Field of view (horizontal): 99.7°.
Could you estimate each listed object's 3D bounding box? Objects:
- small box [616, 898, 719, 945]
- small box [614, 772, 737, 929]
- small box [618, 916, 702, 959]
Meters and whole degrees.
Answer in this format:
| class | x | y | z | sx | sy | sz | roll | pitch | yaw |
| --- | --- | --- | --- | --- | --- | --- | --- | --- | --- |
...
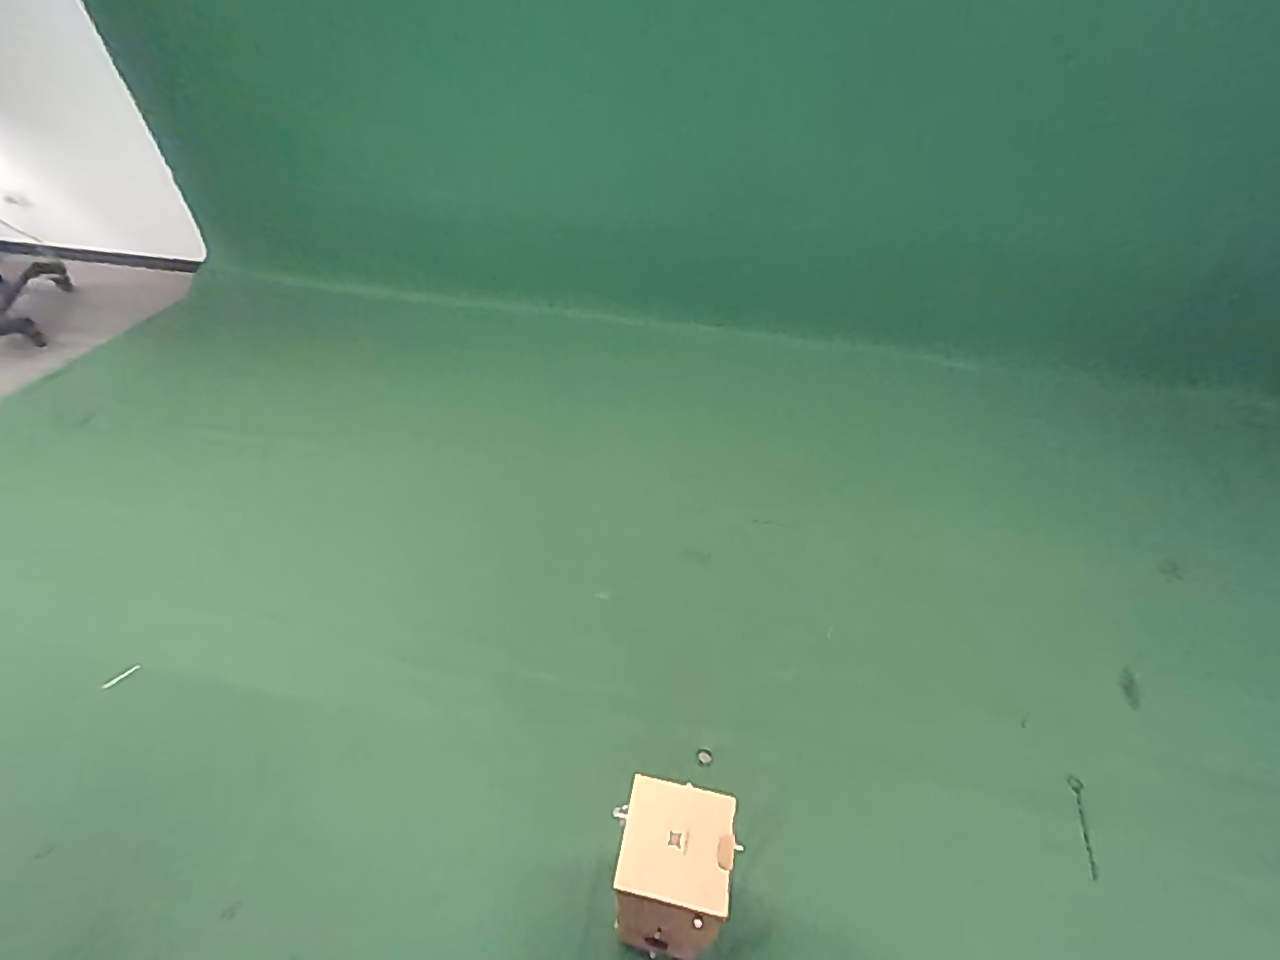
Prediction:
| class | x | y | z | sx | sy | sz | roll | pitch | yaw |
| --- | --- | --- | --- | --- | --- | --- | --- | --- | --- |
| small box | 0.061 | 0.743 | 1.020 | 0.179 | 0.176 | 0.168 | 11 | 43 | 10 |
| small box | 0.059 | 0.626 | 0.911 | 0.179 | 0.176 | 0.168 | 9 | 44 | 8 |
| small box | 0.052 | 0.865 | 1.133 | 0.168 | 0.176 | 0.179 | 9 | 44 | 9 |
